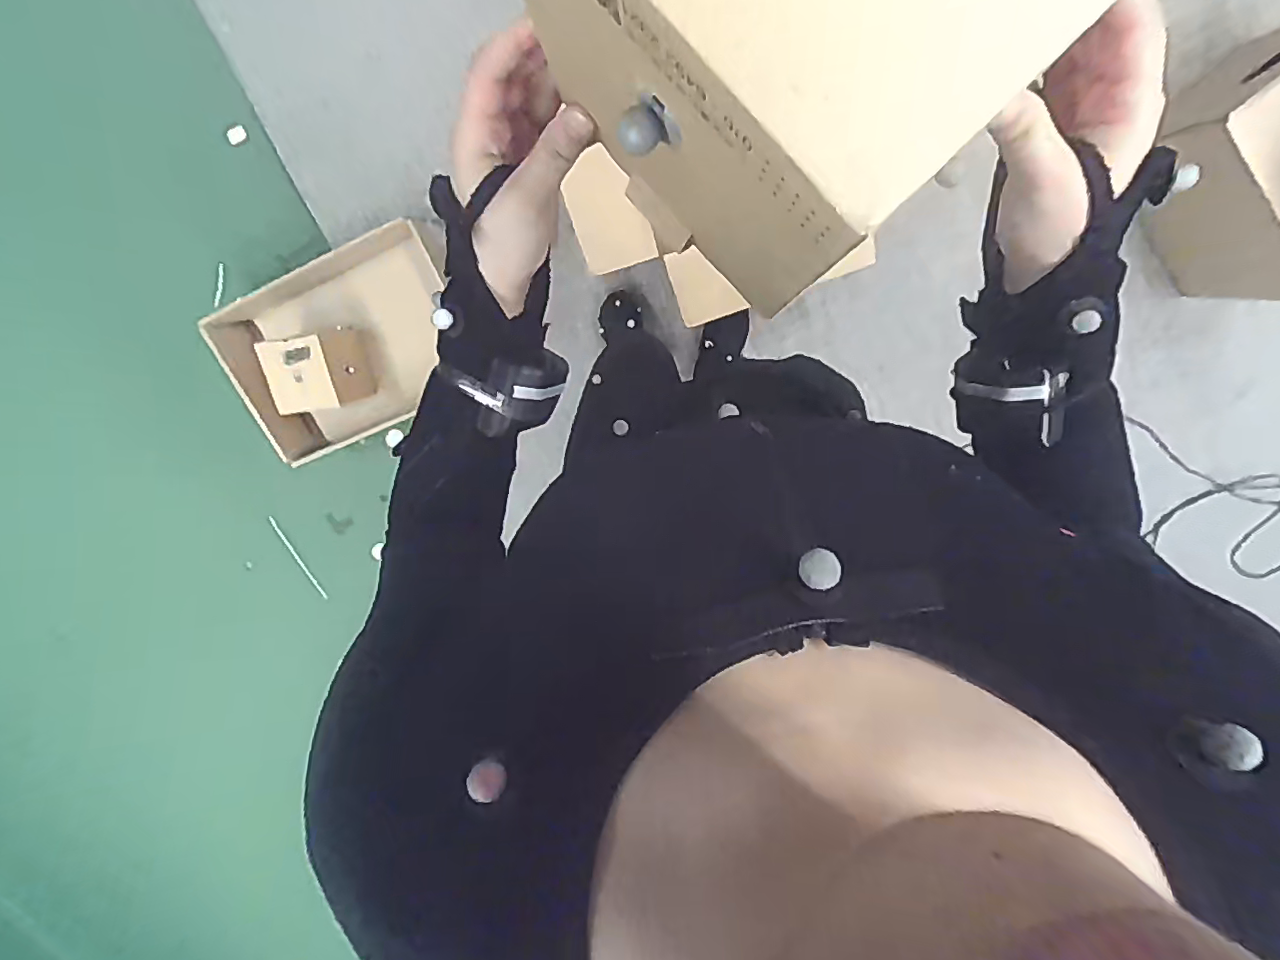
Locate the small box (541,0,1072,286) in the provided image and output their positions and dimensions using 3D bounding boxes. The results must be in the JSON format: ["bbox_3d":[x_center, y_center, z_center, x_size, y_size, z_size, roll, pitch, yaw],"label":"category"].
[{"bbox_3d":[0.072,-0.208,0.206,0.179,0.176,0.168,-44,94,9],"label":"small box"}]

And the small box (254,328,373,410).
[{"bbox_3d":[-0.809,-0.285,1.359,0.168,0.176,0.179,-6,109,6],"label":"small box"}]
